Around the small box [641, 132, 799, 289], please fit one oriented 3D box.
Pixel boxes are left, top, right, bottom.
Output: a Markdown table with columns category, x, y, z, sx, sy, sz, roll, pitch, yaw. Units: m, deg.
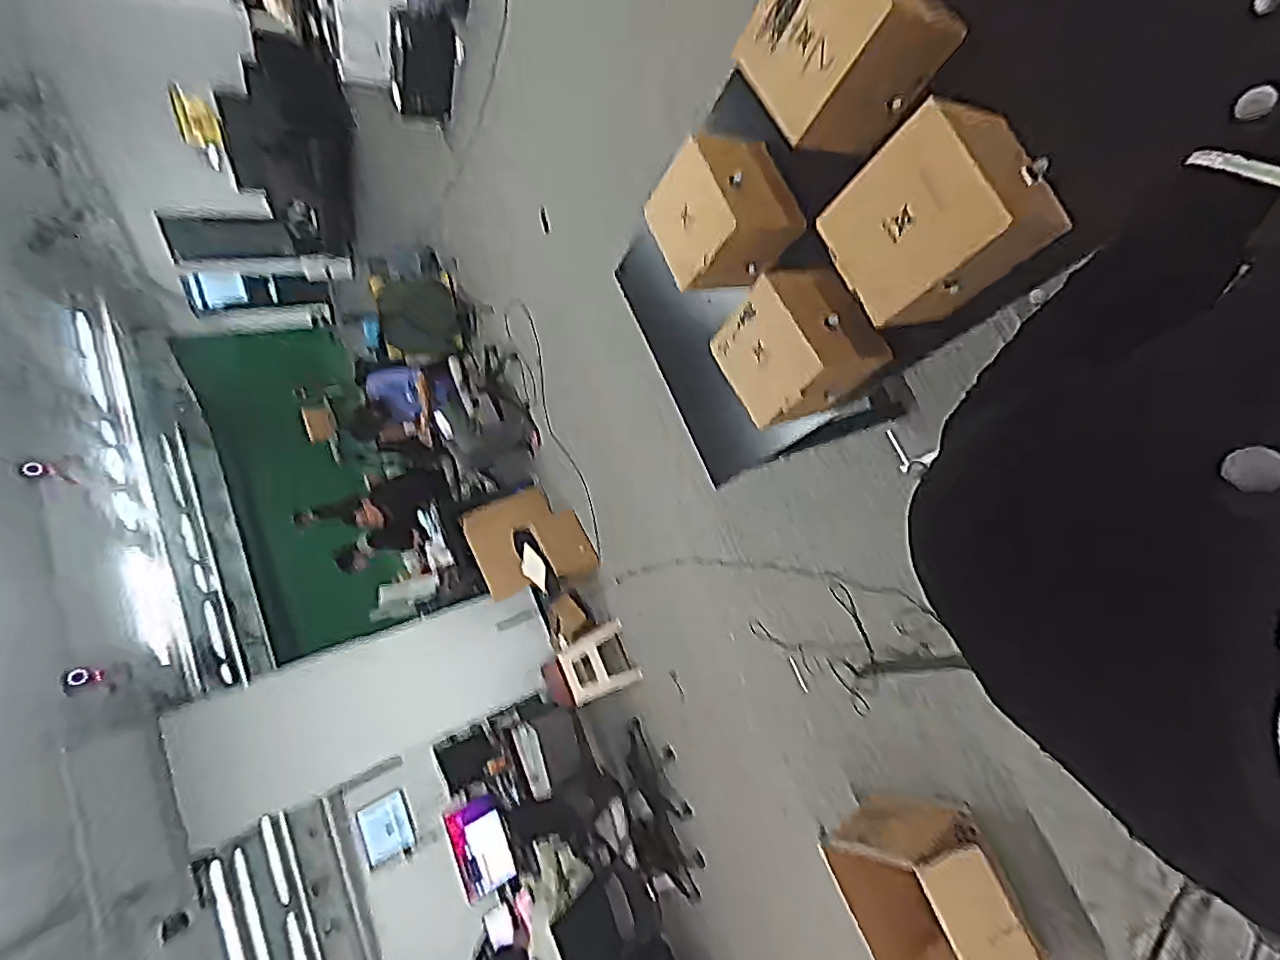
| category | x | y | z | sx | sy | sz | roll | pitch | yaw |
| --- | --- | --- | --- | --- | --- | --- | --- | --- | --- |
| small box | 0.136 | -0.452 | 0.930 | 0.168 | 0.176 | 0.179 | -38 | 72 | 56 |

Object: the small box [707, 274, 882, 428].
| category | x | y | z | sx | sy | sz | roll | pitch | yaw |
| --- | --- | --- | --- | --- | --- | --- | --- | --- | --- |
| small box | 0.246 | -0.212 | 0.869 | 0.179 | 0.176 | 0.168 | 63 | 146 | 16 |

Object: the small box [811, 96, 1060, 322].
| category | x | y | z | sx | sy | sz | roll | pitch | yaw |
| --- | --- | --- | --- | --- | --- | --- | --- | --- | --- |
| small box | 0.354 | -0.317 | 0.661 | 0.179 | 0.176 | 0.168 | -42 | 70 | 54 |
